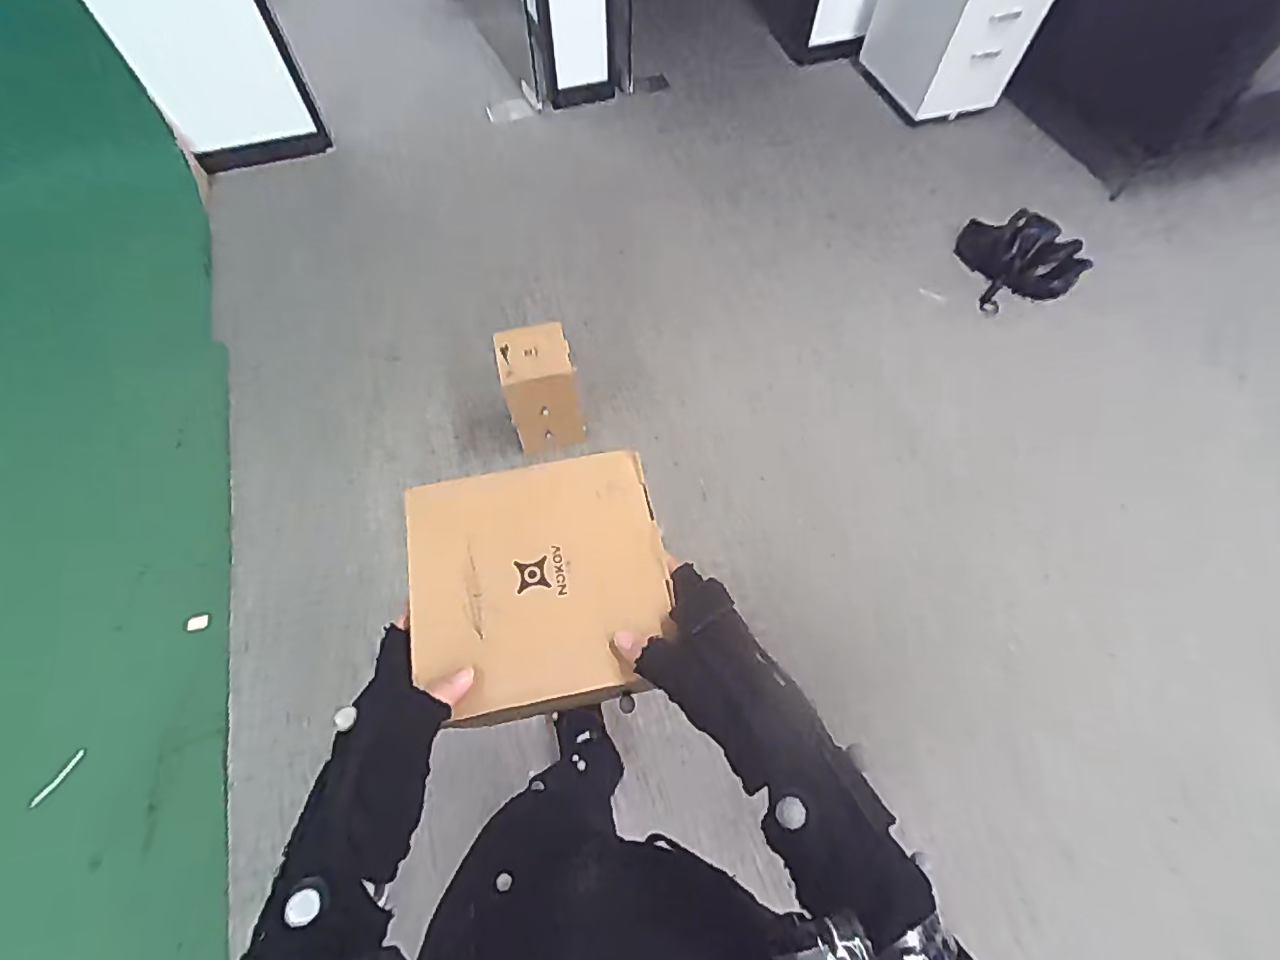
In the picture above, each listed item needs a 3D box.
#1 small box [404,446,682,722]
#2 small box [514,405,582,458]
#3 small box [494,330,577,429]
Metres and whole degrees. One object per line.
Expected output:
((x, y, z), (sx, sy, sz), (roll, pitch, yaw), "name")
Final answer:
((-0.074, 0.095, 0.451), (0.179, 0.176, 0.168), (-12, 65, -5), "small box")
((-0.265, -0.183, 1.543), (0.179, 0.176, 0.168), (-13, 63, -6), "small box")
((-0.264, -0.256, 1.399), (0.179, 0.176, 0.168), (-15, 65, -7), "small box")
